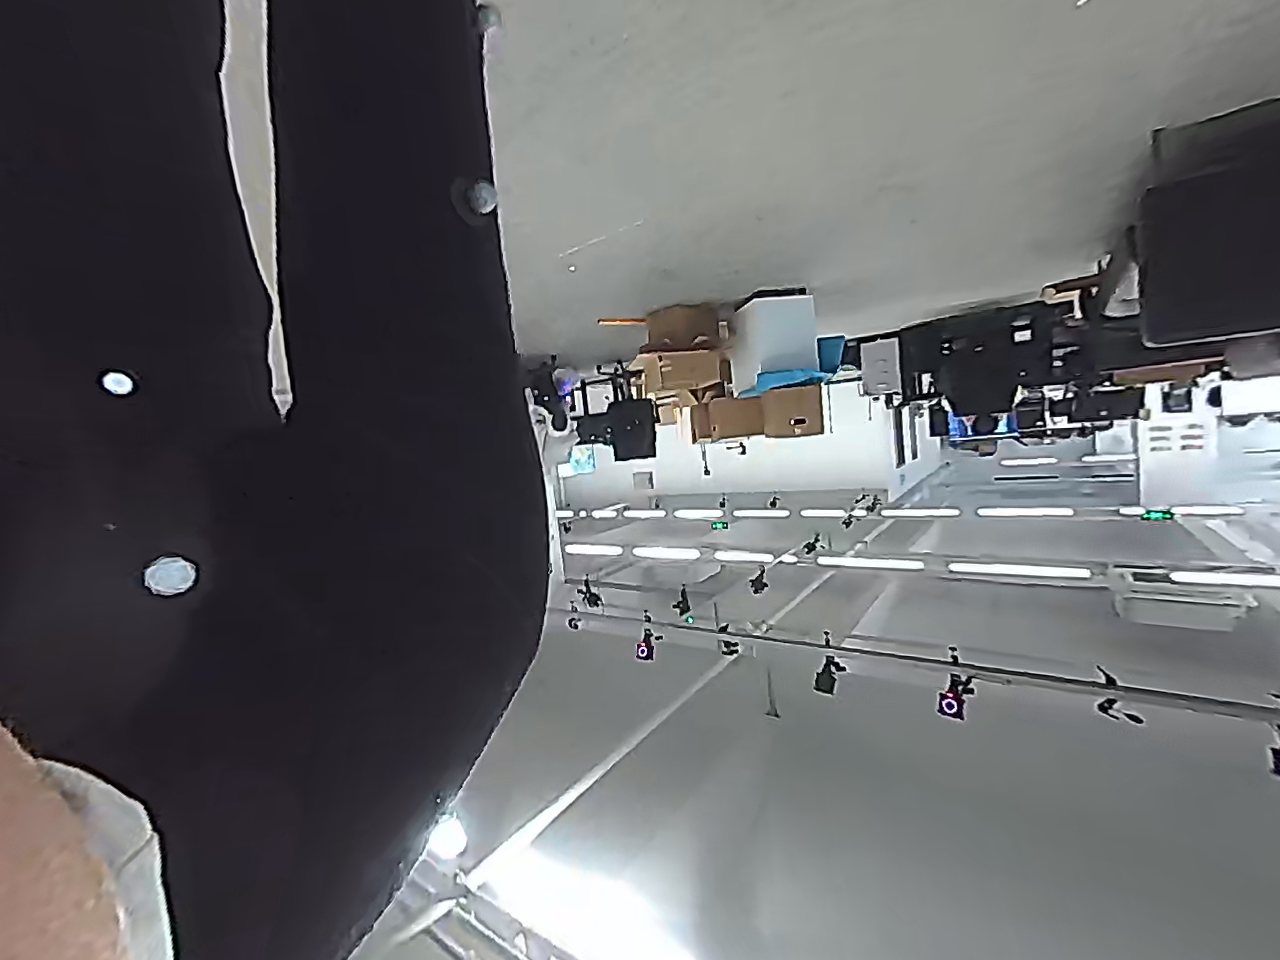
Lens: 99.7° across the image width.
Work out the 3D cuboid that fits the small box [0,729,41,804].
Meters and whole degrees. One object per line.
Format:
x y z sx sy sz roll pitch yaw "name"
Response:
-2.024 0.908 1.690 0.179 0.176 0.168 0 -174 35 "small box"
